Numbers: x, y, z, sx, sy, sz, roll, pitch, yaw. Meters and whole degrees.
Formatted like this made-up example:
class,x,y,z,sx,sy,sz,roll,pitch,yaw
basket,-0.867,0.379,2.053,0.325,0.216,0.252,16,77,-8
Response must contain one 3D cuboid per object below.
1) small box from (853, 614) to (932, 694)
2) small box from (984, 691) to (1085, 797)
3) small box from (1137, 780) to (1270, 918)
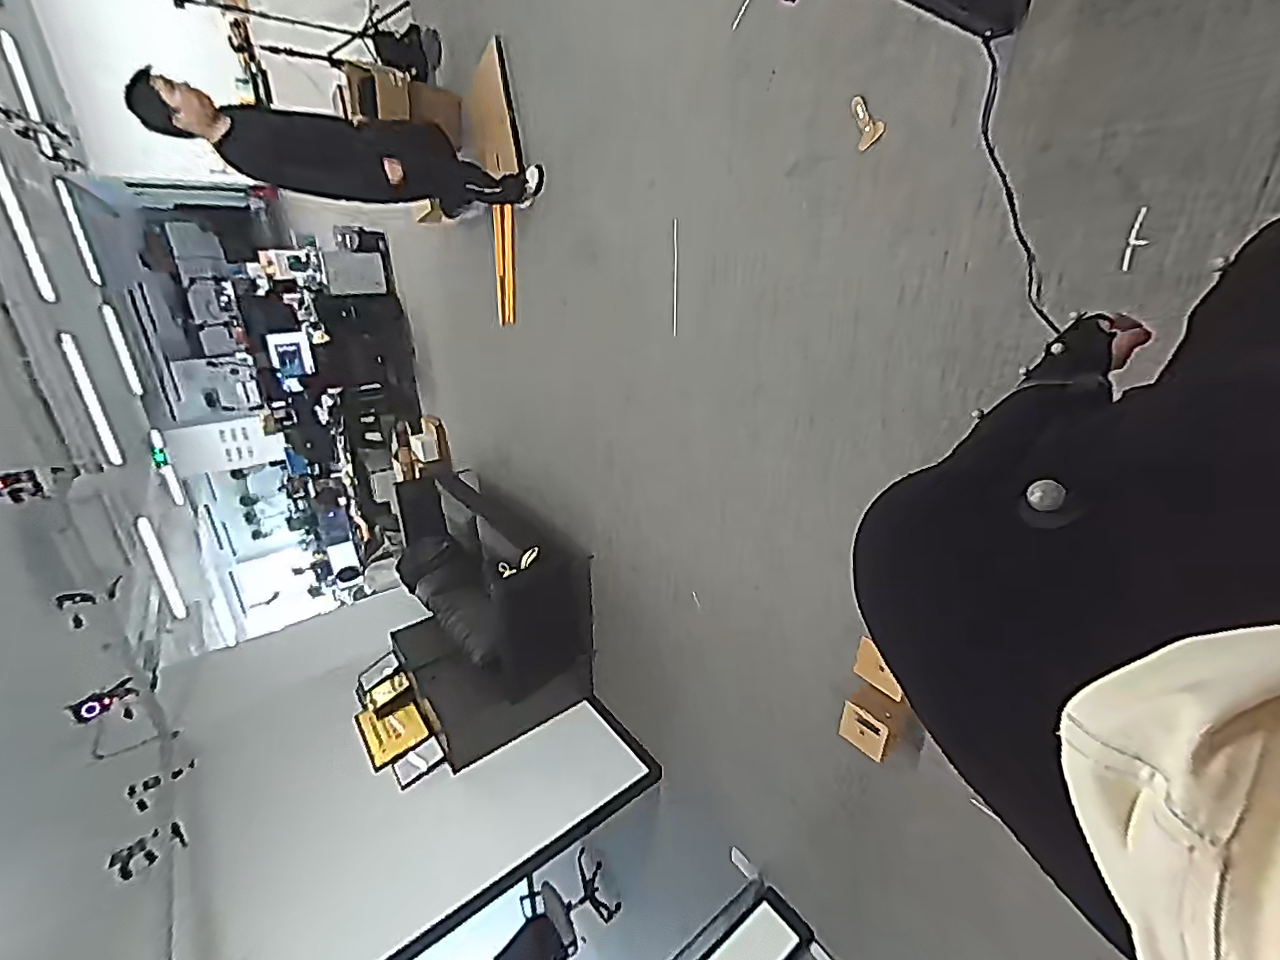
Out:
class,x,y,z,sx,sy,sz,roll,pitch,yaw
small box,0.868,0.588,1.856,0.179,0.176,0.168,31,129,46
small box,1.131,0.750,1.550,0.168,0.176,0.179,30,128,45
small box,1.350,0.874,1.295,0.168,0.176,0.179,28,128,46
